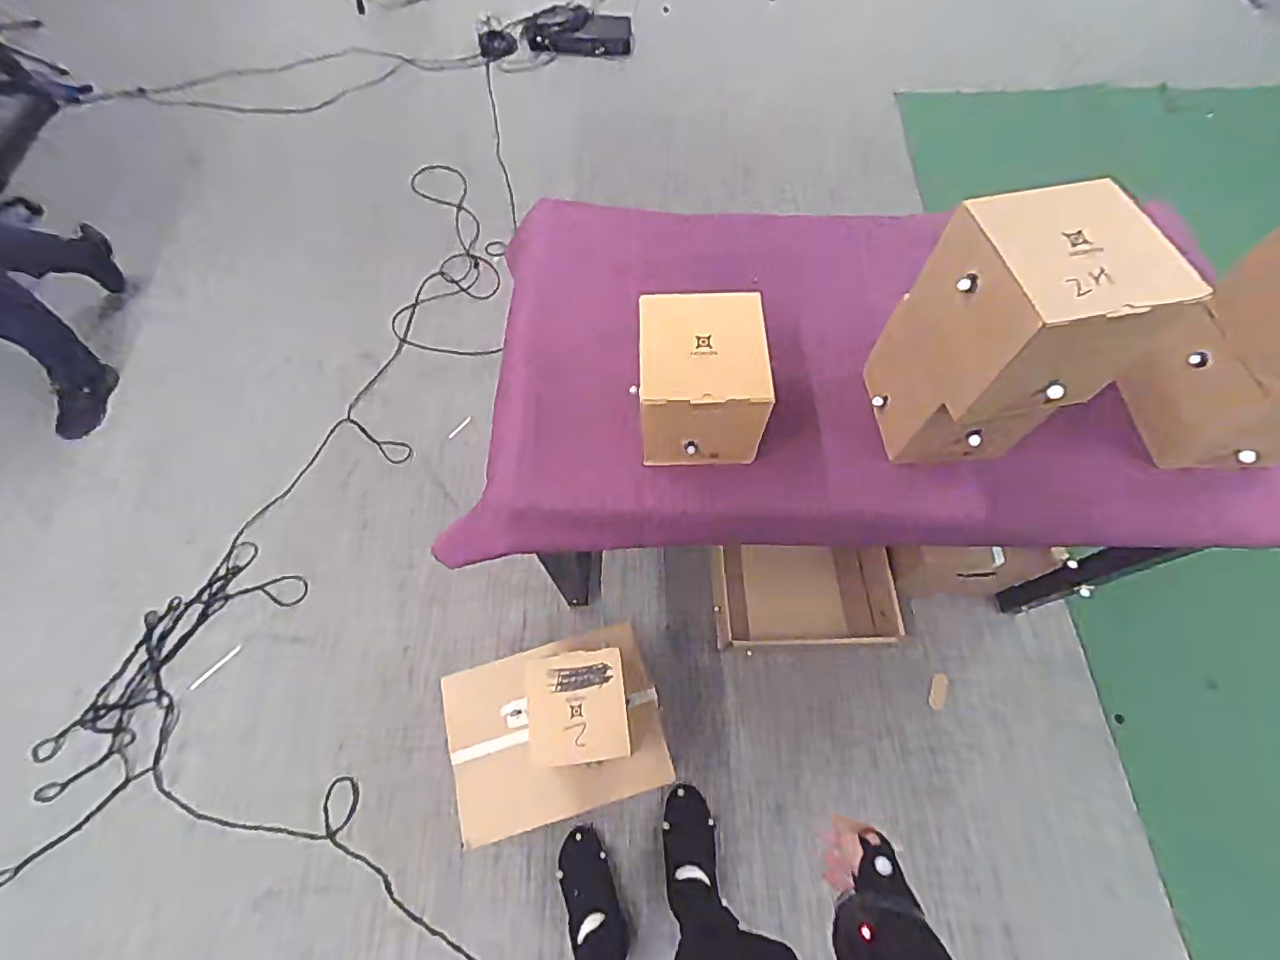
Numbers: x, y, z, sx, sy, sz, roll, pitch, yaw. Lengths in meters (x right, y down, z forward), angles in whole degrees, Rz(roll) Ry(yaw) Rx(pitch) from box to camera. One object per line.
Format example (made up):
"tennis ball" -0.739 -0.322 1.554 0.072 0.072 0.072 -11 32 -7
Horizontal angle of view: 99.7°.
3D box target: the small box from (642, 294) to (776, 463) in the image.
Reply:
"small box" 0.086 -0.140 0.771 0.168 0.176 0.179 -1 64 0

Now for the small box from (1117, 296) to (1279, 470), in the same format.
"small box" 0.822 -0.130 0.745 0.168 0.176 0.179 0 63 2

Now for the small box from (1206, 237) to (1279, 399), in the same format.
"small box" 0.812 -0.204 0.600 0.168 0.176 0.179 -3 63 1

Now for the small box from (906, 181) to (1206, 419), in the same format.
"small box" 0.431 -0.194 0.603 0.168 0.176 0.179 -10 64 -2

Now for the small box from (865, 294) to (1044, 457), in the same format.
"small box" 0.441 -0.141 0.761 0.168 0.176 0.179 -4 64 -1
